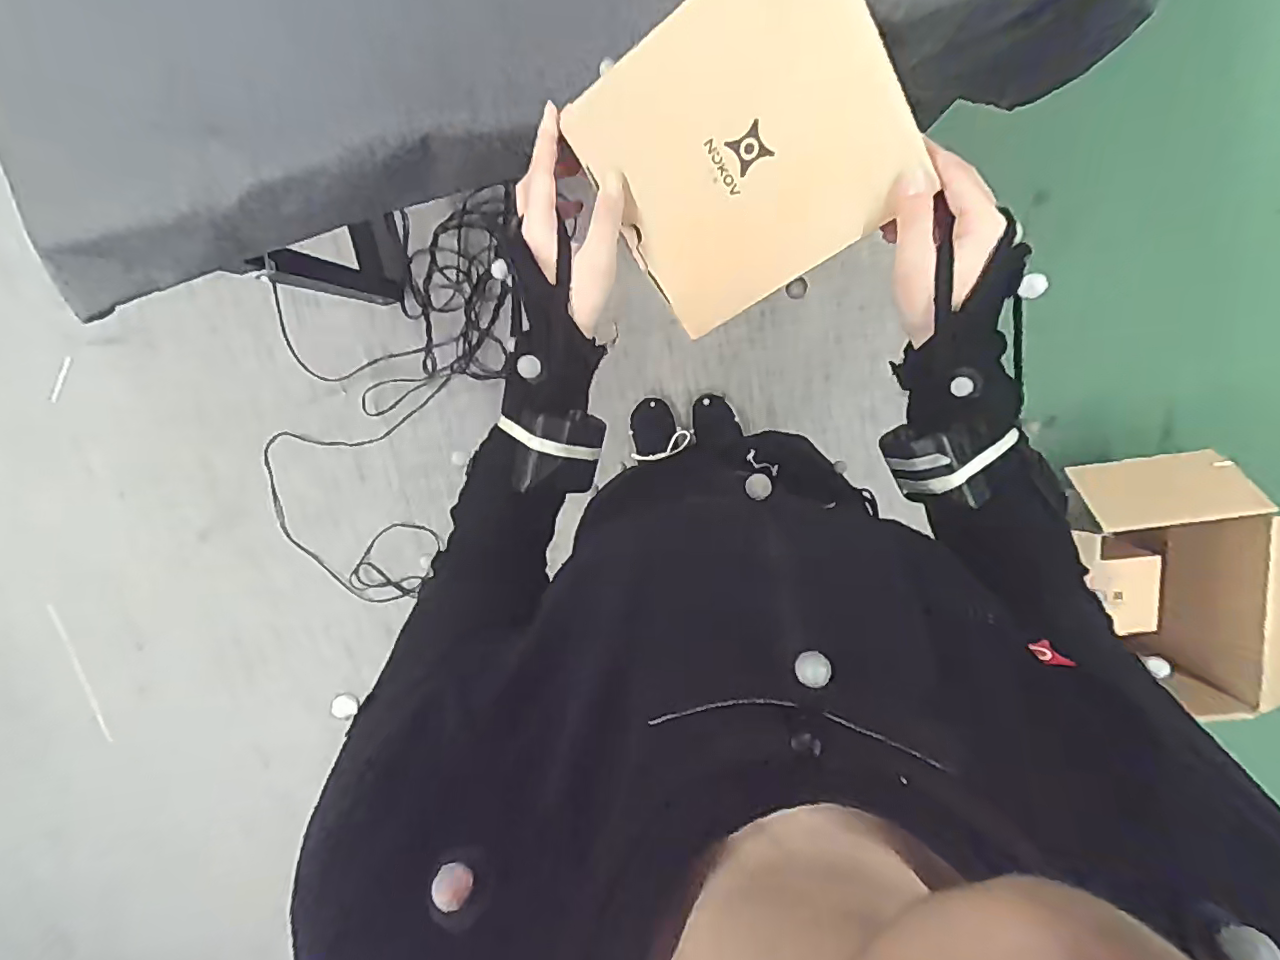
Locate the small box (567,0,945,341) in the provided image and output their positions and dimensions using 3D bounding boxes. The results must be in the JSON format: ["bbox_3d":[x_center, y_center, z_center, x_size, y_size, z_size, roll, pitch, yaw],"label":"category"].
[{"bbox_3d":[0.080,-0.233,0.395,0.179,0.176,0.168,-28,108,24],"label":"small box"}]
